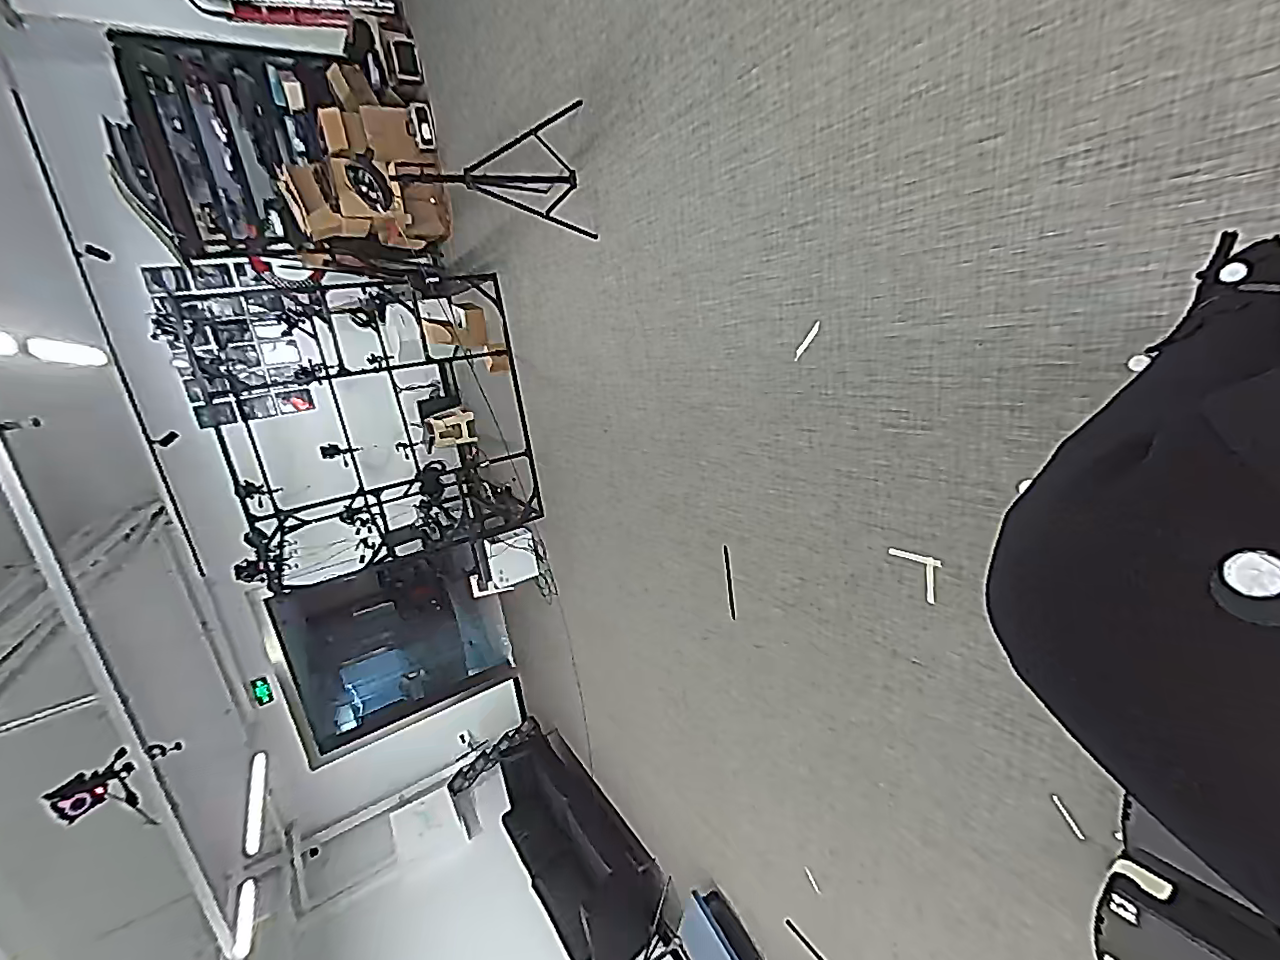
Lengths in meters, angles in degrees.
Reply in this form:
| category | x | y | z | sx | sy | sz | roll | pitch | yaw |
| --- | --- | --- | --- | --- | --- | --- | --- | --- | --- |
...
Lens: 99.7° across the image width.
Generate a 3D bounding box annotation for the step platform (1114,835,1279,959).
| category | x | y | z | sx | sy | sz | roll | pitch | yaw |
| --- | --- | --- | --- | --- | --- | --- | --- | --- | --- |
| step platform | 1.386 | 1.075 | 1.065 | 0.684 | 0.204 | 0.286 | 17 | 119 | 58 |
